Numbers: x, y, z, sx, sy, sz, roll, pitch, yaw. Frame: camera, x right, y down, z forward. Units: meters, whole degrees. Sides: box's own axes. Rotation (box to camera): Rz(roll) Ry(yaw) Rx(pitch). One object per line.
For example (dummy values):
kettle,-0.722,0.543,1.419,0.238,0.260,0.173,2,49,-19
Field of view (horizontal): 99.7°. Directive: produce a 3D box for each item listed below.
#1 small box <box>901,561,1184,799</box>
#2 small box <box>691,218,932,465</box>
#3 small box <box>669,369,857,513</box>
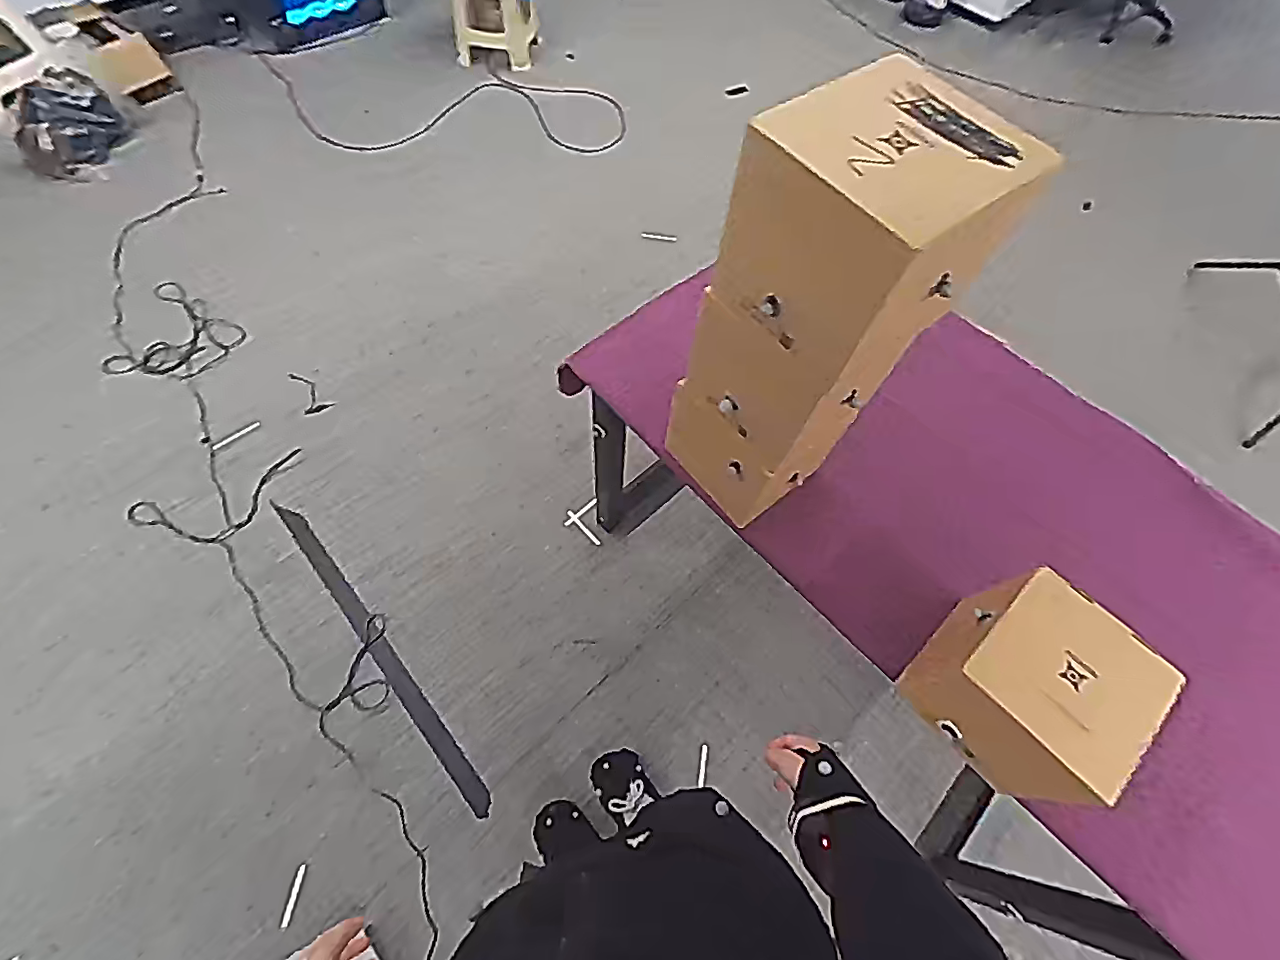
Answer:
small box,0.443,0.229,0.626,0.179,0.176,0.168,-39,70,-19
small box,0.177,-0.151,0.617,0.179,0.176,0.168,-36,71,-18
small box,0.159,-0.074,0.761,0.168,0.176,0.179,-35,70,-19
